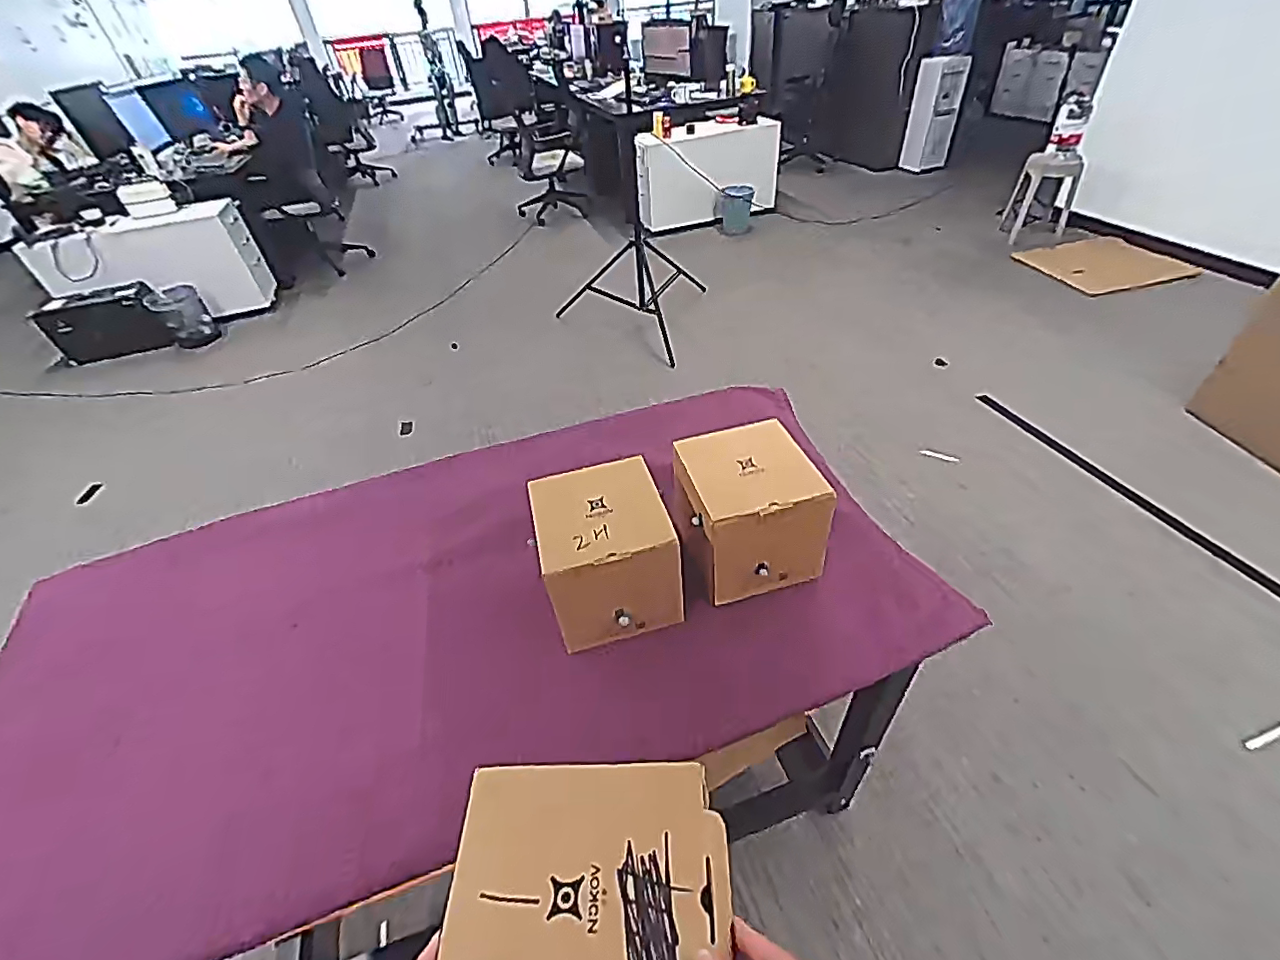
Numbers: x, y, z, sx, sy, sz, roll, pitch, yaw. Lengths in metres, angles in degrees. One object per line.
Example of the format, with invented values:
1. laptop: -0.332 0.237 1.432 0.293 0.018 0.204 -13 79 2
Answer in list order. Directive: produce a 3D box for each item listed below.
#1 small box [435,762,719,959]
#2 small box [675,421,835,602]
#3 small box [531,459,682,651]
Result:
1. small box: -0.034 0.328 0.407 0.179 0.176 0.168 -3 43 4
2. small box: 0.154 0.044 0.781 0.168 0.176 0.179 -14 41 -7
3. small box: -0.046 0.101 0.743 0.168 0.176 0.179 -14 42 -8
